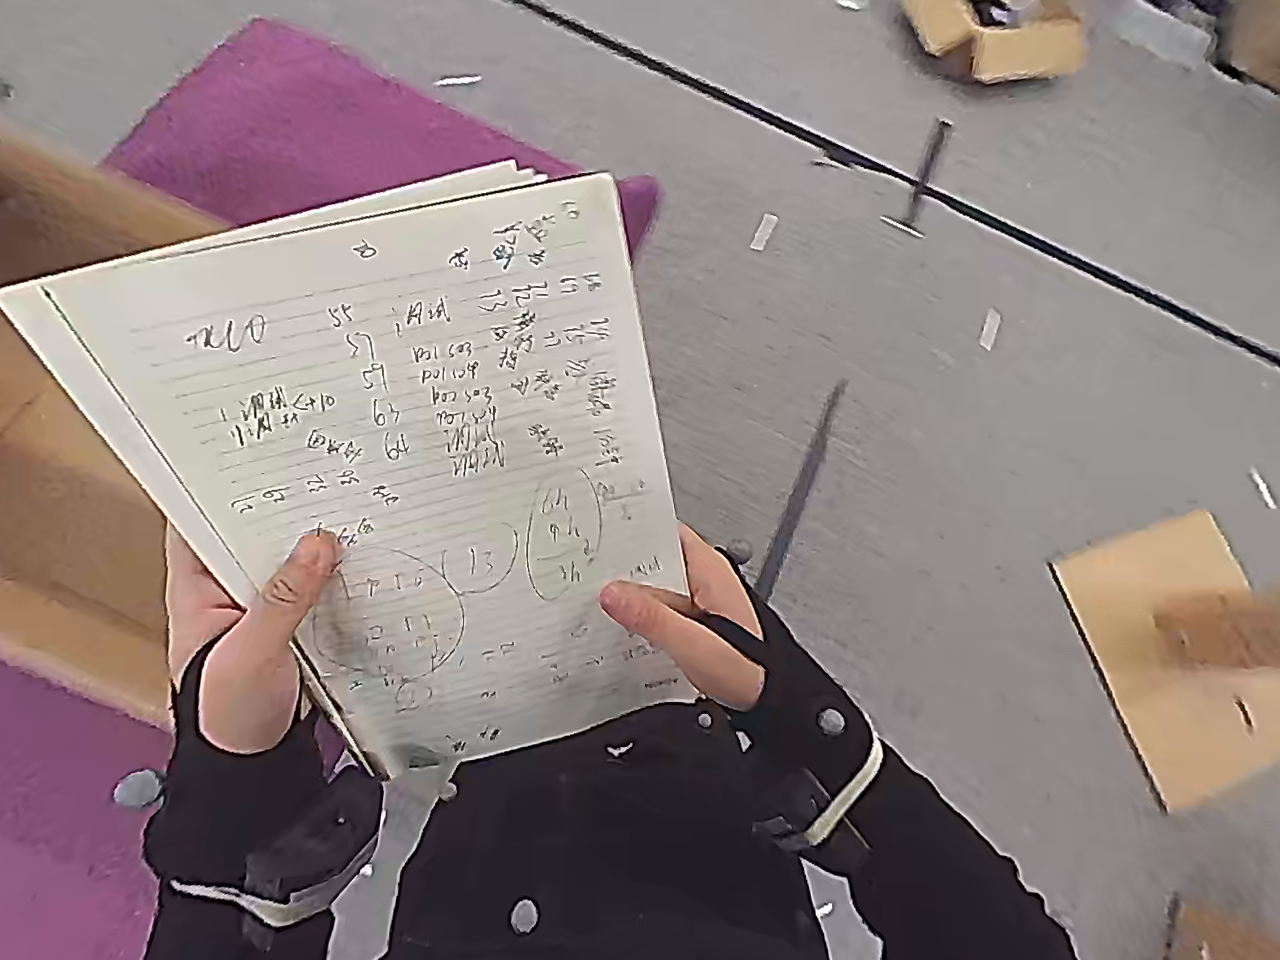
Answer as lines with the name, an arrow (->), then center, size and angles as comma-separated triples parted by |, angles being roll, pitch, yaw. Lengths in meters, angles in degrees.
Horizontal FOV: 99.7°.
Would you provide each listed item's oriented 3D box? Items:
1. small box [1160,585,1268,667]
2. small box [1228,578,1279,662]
small box -> 1.604, 0.393, 1.481 | 0.179, 0.176, 0.168 | -20, 79, -11
small box -> 1.618, 0.342, 1.324 | 0.179, 0.176, 0.168 | -19, 80, -12
